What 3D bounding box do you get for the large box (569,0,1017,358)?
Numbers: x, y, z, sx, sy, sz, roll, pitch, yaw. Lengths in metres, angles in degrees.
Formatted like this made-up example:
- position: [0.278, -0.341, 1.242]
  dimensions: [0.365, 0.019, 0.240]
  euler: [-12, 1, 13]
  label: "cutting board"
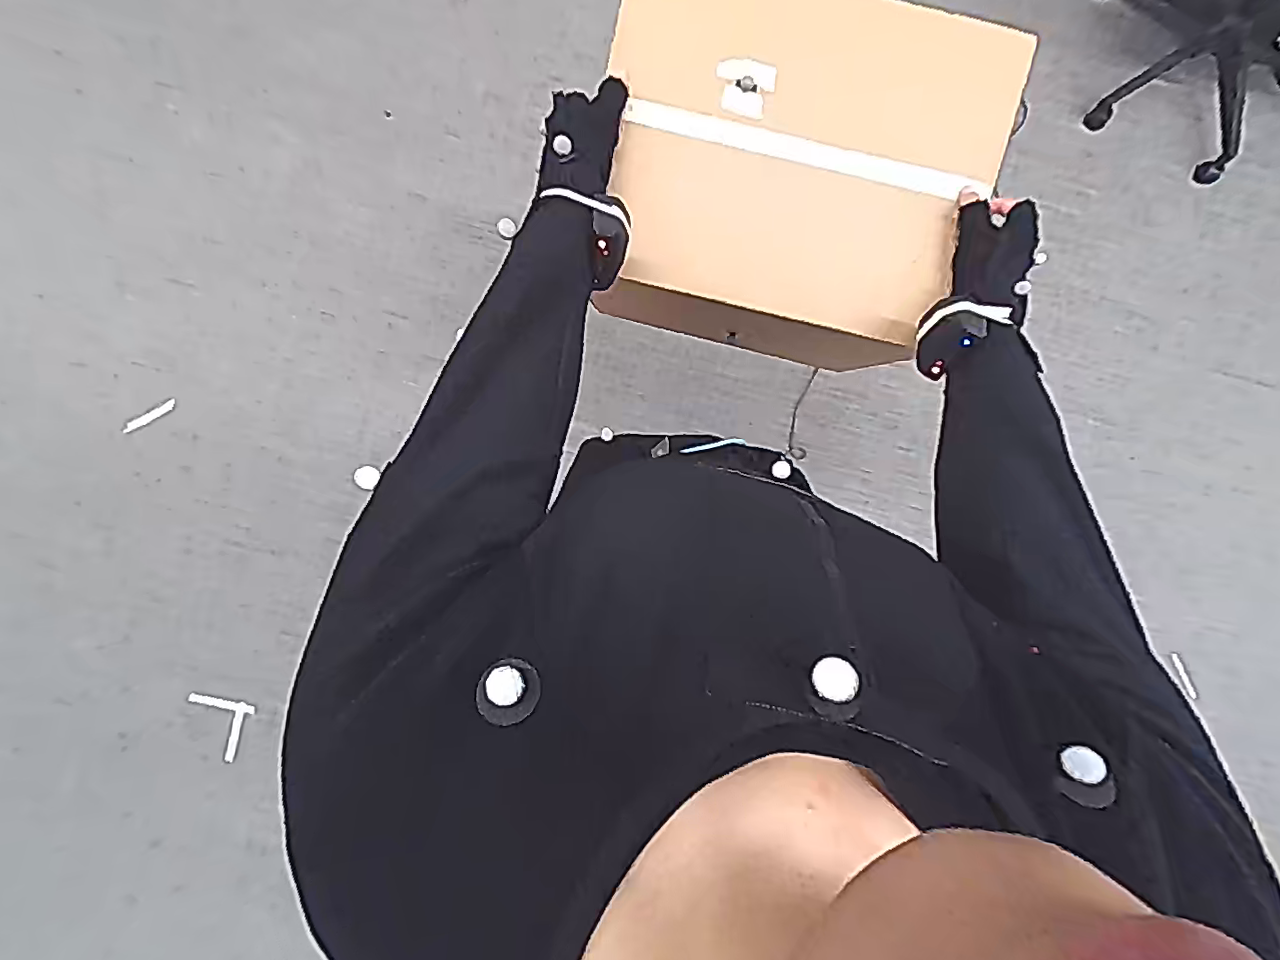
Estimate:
- position: [0.154, -0.359, 0.701]
  dimensions: [0.408, 0.320, 0.320]
  euler: [13, 97, -1]
  label: "large box"
